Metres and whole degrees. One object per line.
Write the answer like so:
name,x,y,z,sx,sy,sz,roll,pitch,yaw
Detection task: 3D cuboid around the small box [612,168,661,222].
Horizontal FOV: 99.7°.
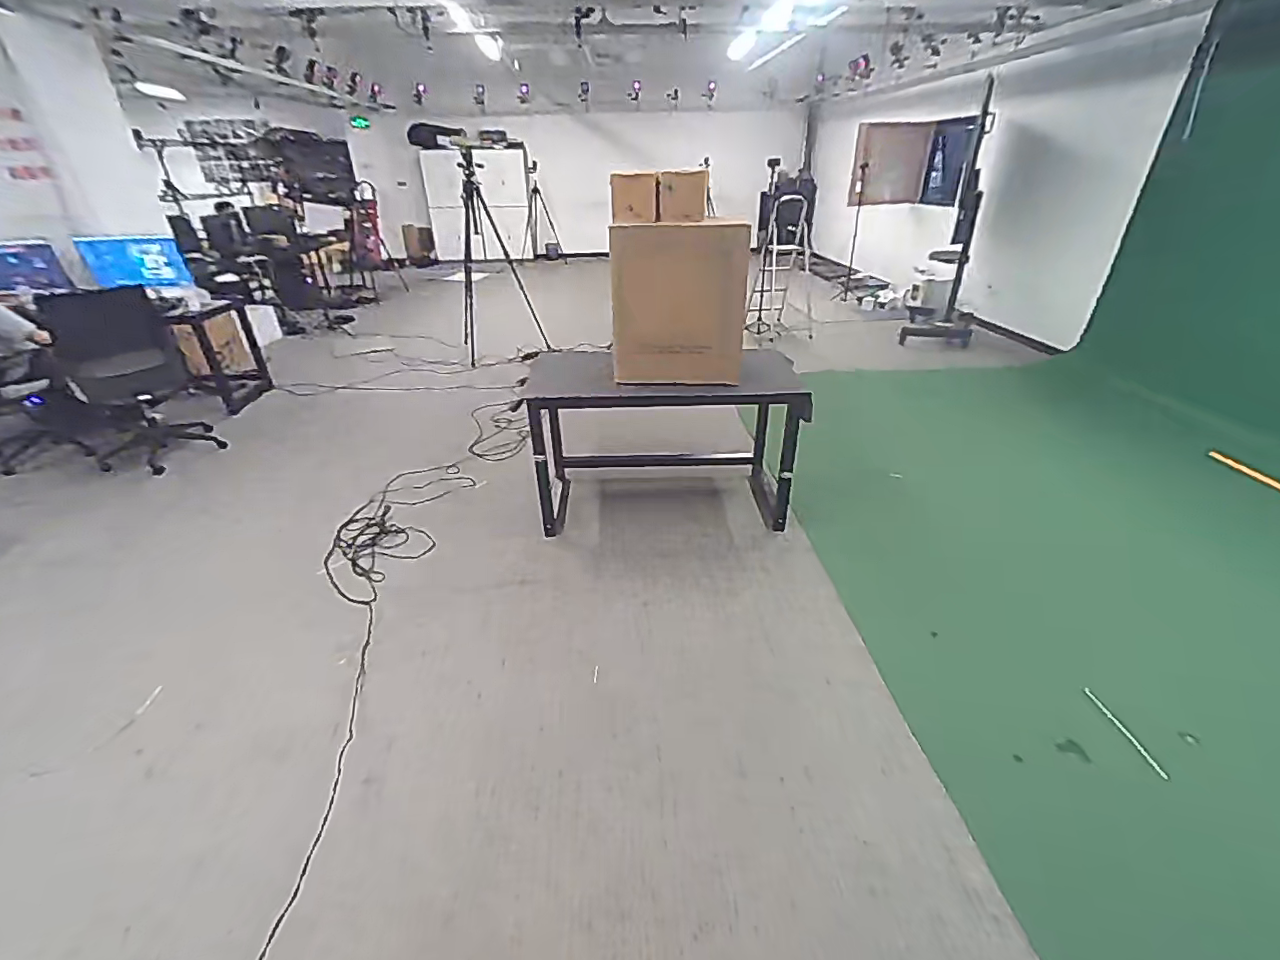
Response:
small box,-0.012,-1.088,2.058,0.168,0.176,0.179,3,33,7
